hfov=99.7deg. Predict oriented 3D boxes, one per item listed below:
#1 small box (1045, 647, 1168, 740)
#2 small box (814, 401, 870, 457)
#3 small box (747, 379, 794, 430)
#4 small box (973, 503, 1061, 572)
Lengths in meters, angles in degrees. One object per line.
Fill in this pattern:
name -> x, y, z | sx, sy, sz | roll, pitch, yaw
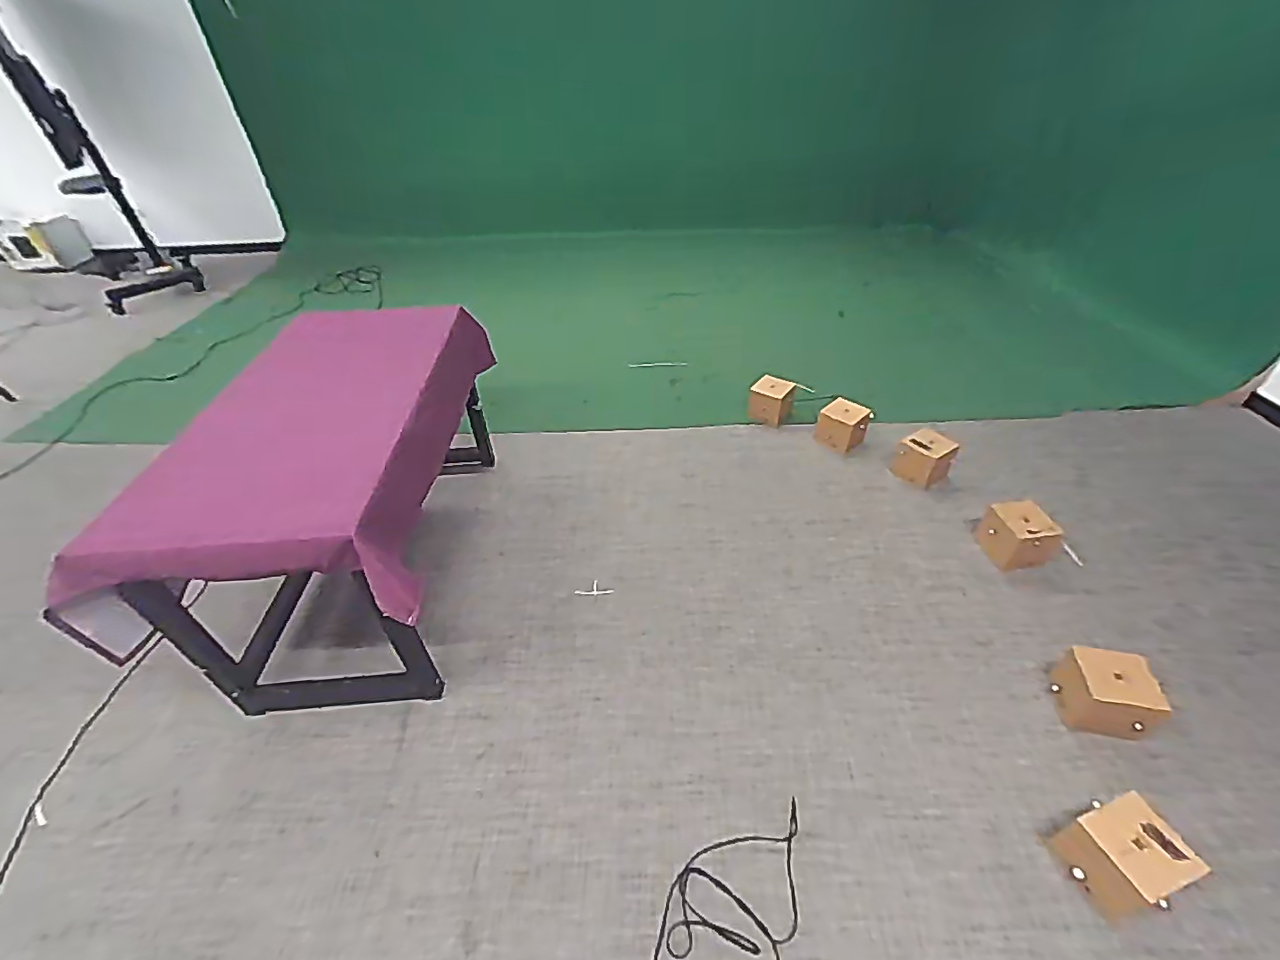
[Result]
small box -> 1.273, 0.591, 1.491 | 0.179, 0.176, 0.168 | 7, 40, 11
small box -> 0.929, -0.235, 2.506 | 0.179, 0.176, 0.168 | -33, 49, -31
small box -> 0.643, -0.374, 2.682 | 0.168, 0.176, 0.179 | 25, 46, 28
small box -> 1.345, 0.208, 1.948 | 0.168, 0.176, 0.179 | -6, 39, -4
